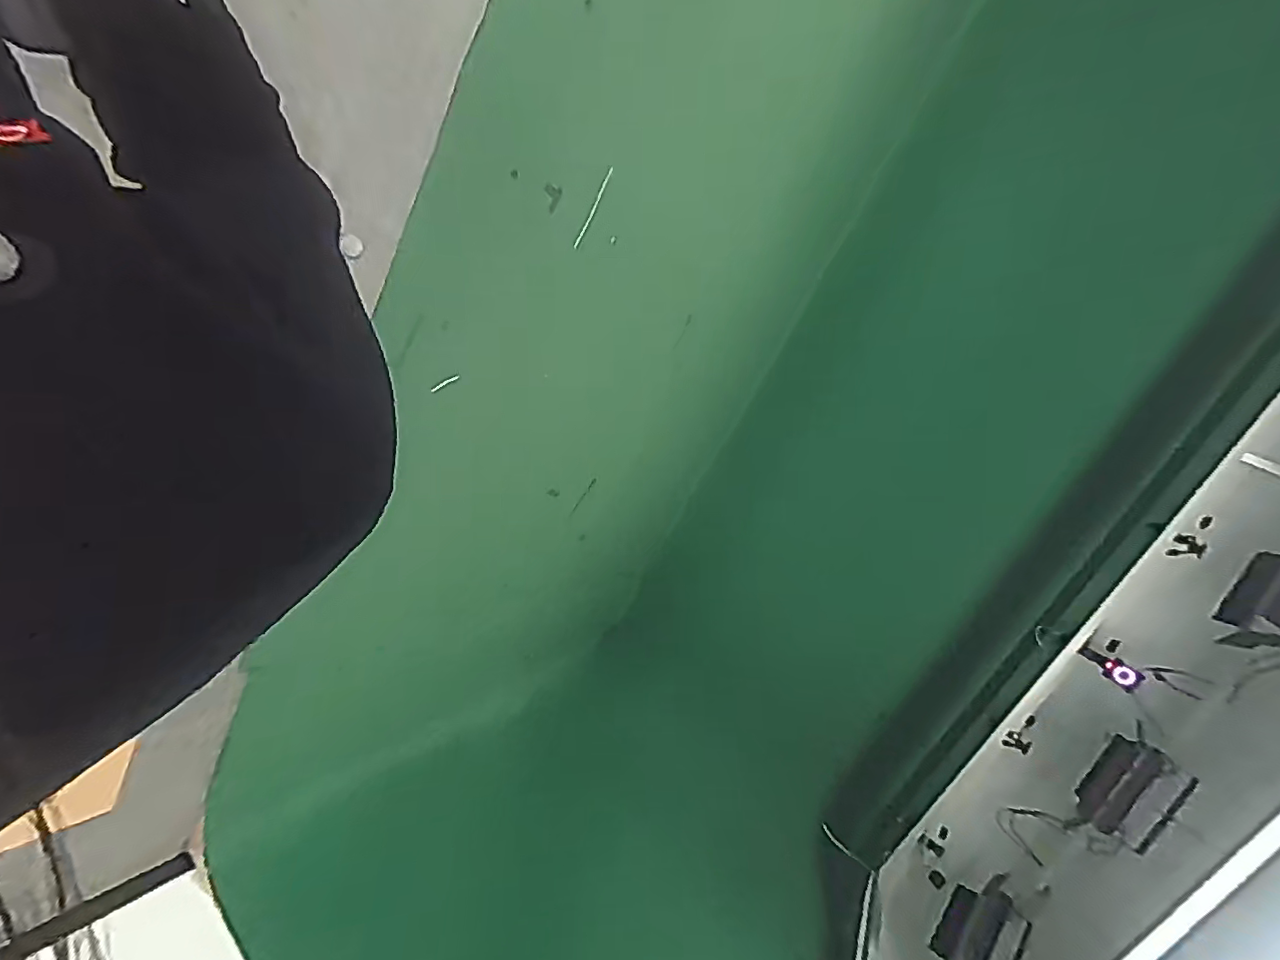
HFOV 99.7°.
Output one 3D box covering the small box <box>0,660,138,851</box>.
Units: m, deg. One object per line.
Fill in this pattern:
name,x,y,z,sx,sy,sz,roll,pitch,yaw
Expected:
small box,-0.856,0.377,0.754,0.179,0.176,0.168,-61,155,13
